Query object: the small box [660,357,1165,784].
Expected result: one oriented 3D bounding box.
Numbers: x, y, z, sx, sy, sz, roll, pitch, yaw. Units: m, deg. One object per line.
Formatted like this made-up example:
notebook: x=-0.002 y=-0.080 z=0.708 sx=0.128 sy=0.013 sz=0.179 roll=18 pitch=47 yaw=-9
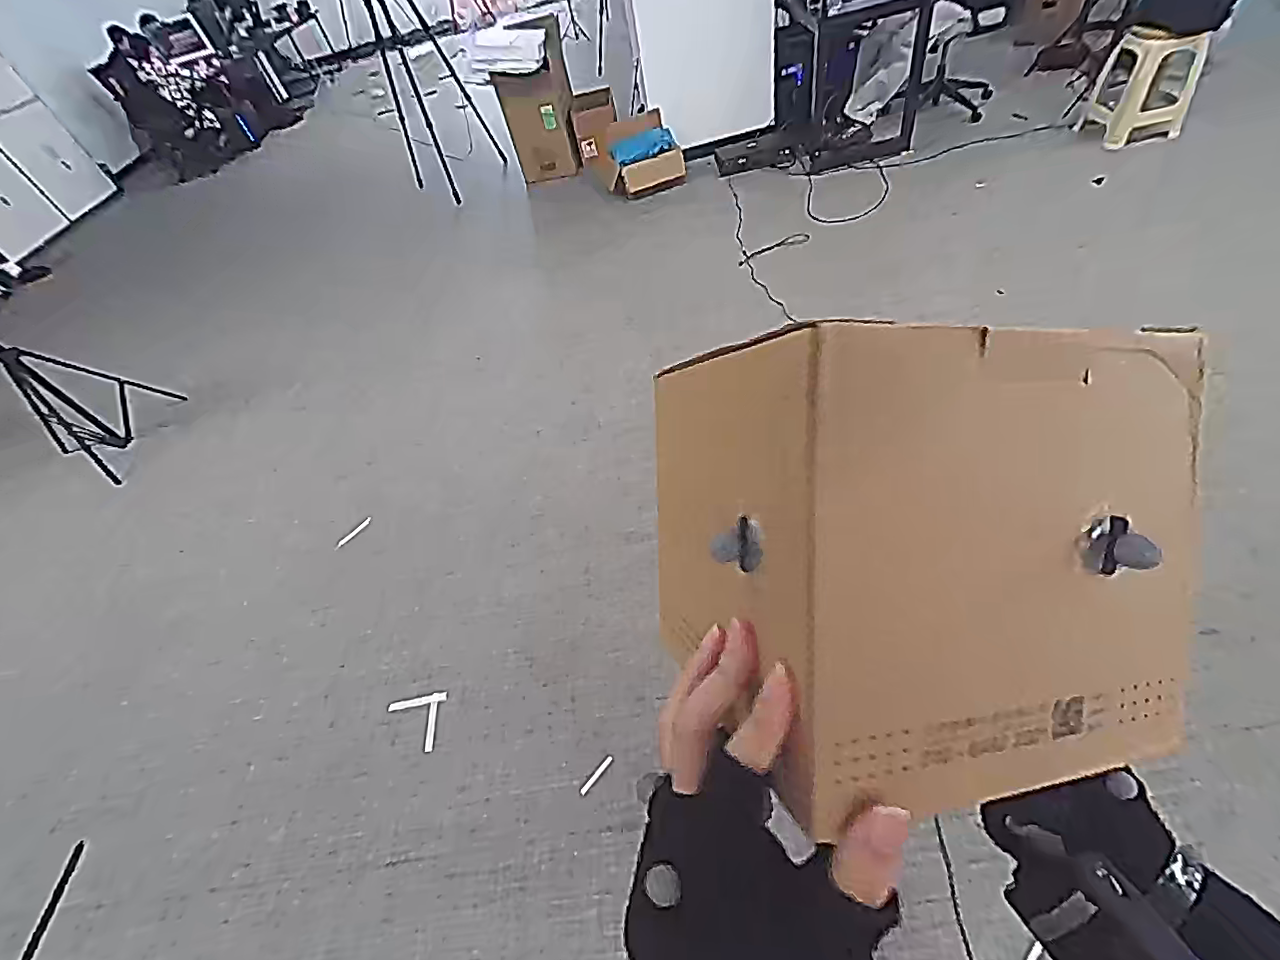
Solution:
small box: x=0.115 y=0.032 z=0.285 sx=0.168 sy=0.176 sz=0.179 roll=-3 pitch=5 yaw=-15
